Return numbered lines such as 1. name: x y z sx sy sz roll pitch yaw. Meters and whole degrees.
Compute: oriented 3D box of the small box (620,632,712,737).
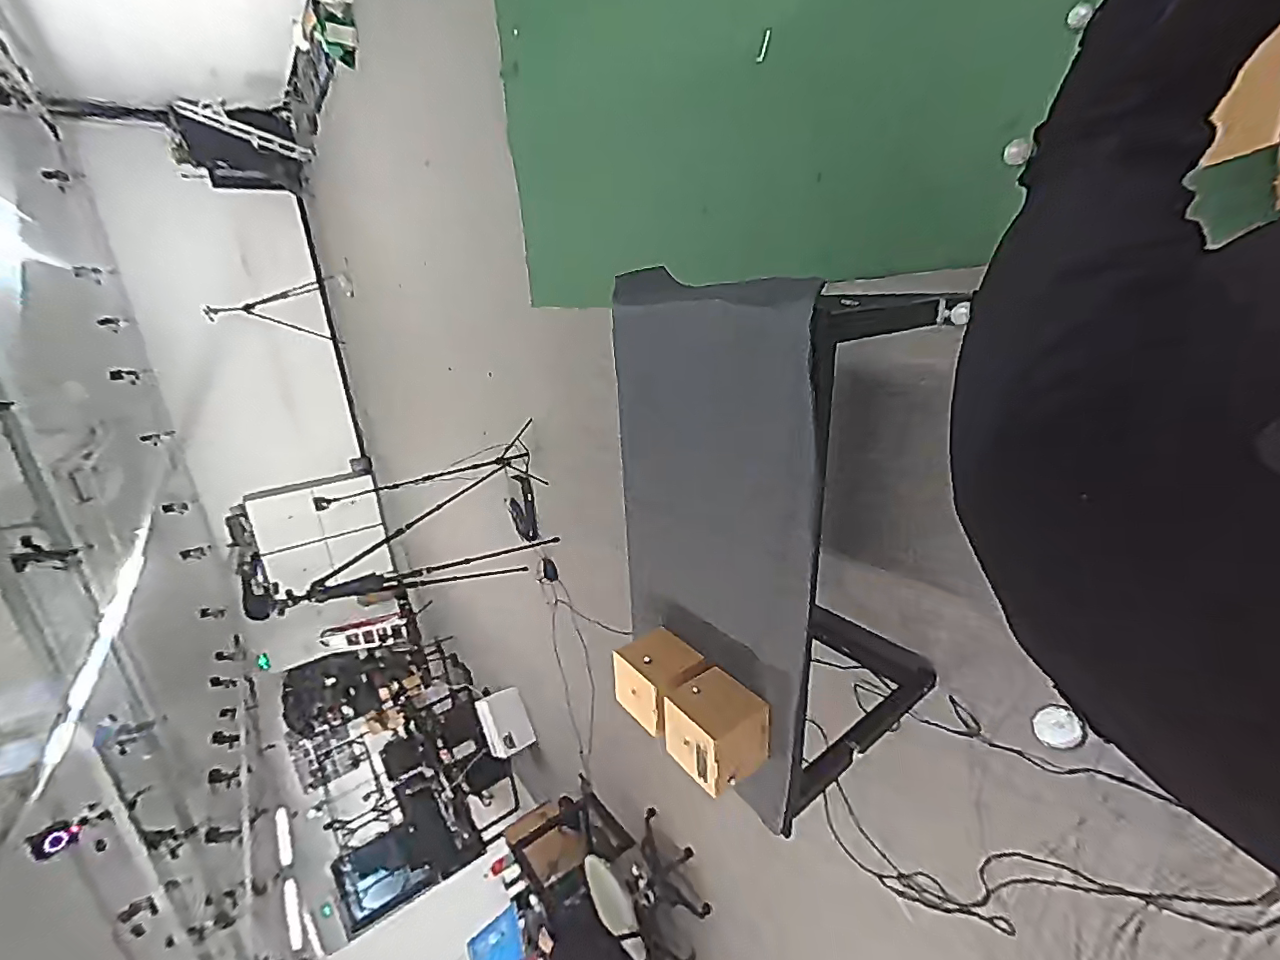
1. small box: 0.067 0.523 1.416 0.179 0.176 0.168 22 122 49
